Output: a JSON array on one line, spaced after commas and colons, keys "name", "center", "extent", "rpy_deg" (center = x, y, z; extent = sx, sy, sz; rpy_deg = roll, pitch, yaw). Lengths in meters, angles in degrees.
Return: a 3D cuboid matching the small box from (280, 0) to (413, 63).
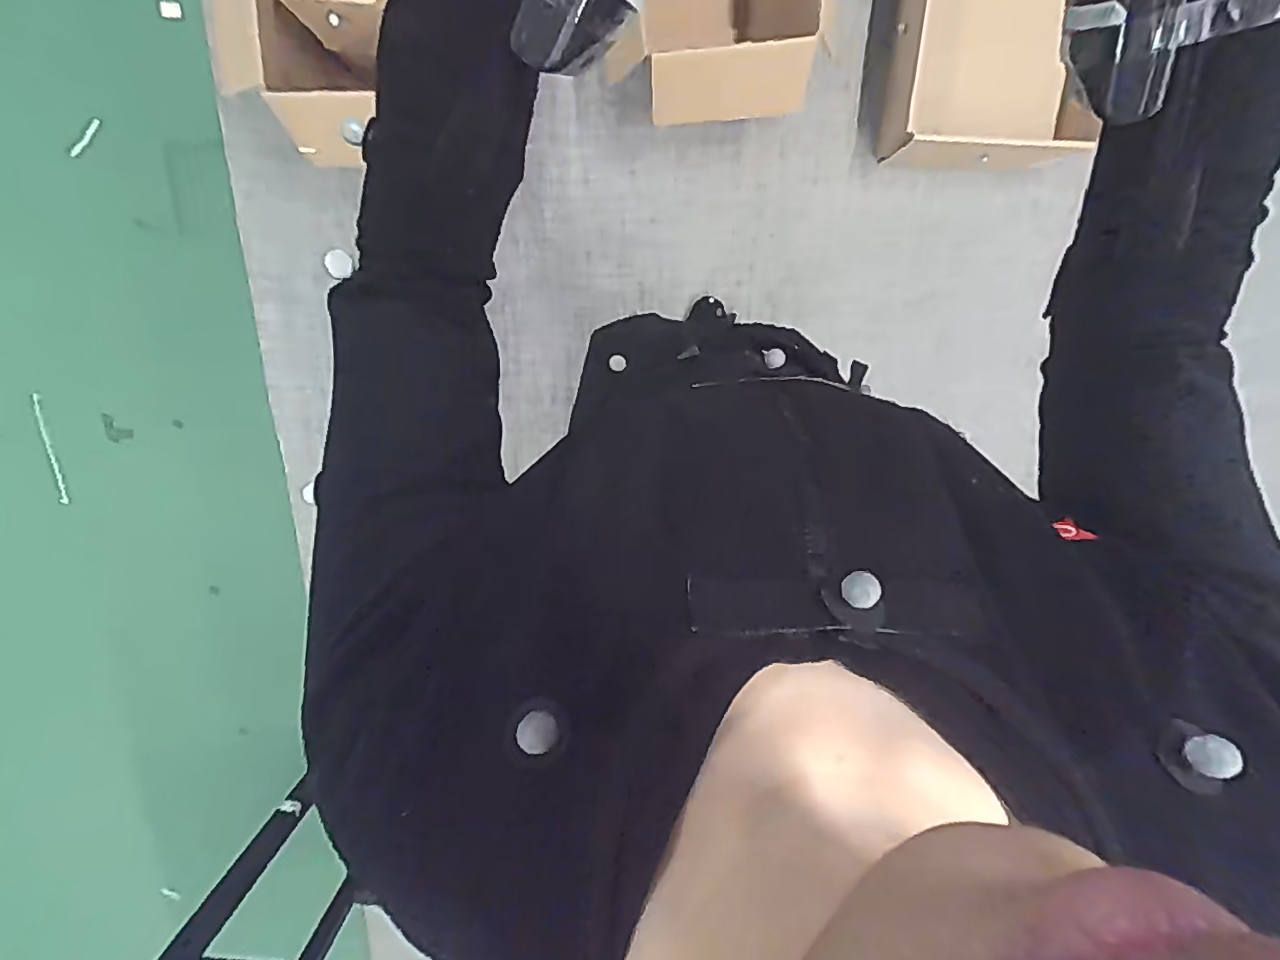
[{"name": "small box", "center": [-0.532, -0.907, 0.998], "extent": [0.179, 0.176, 0.168], "rpy_deg": [4, 103, -1]}]
